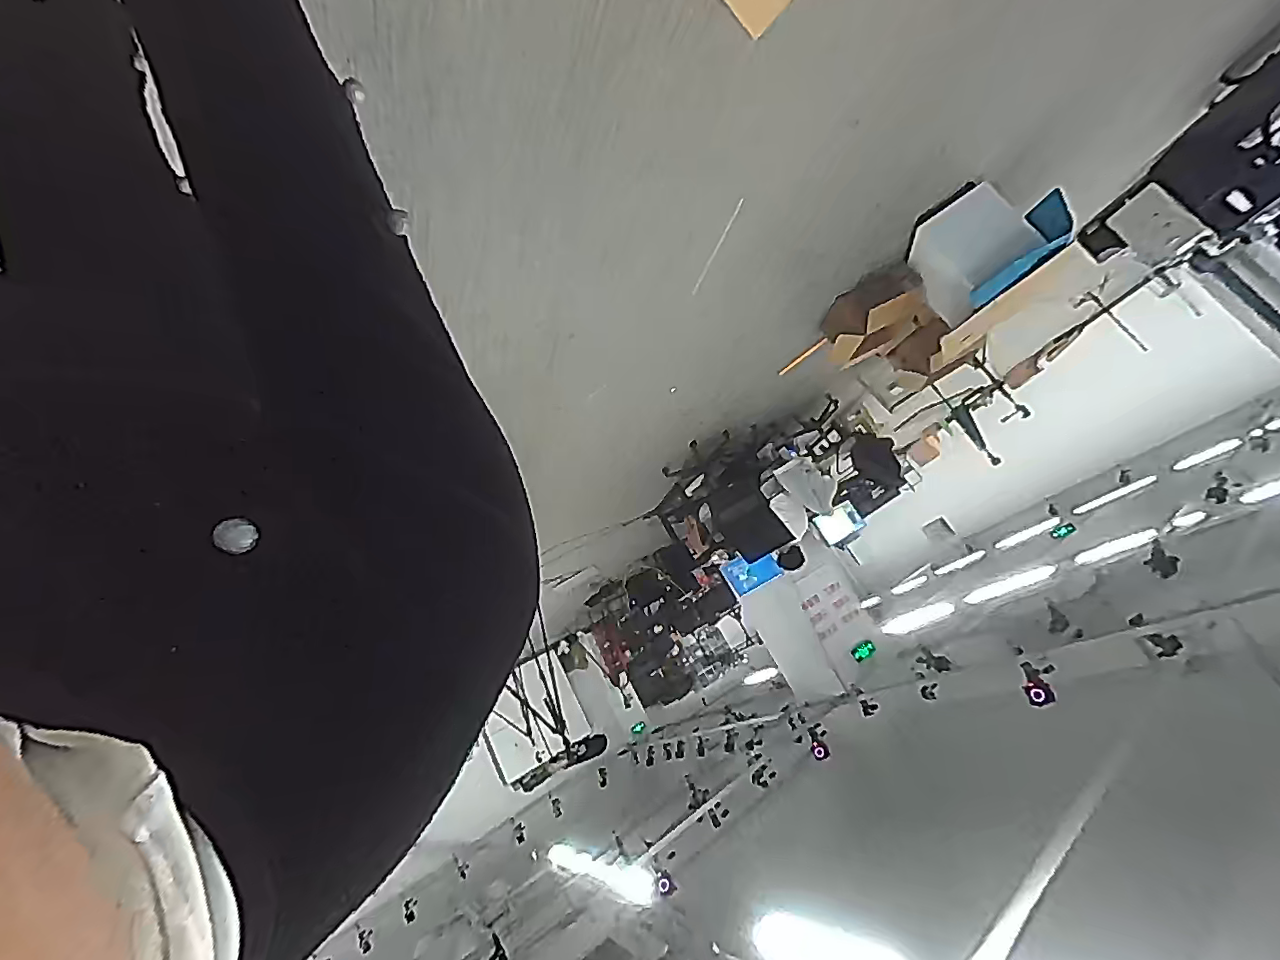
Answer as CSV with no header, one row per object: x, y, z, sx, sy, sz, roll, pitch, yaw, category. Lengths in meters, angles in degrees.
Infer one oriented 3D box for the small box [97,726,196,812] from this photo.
-1.487,0.868,1.636,0.168,0.176,0.179,-22,164,-33,small box

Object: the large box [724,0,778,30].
0.146,-1.133,0.941,0.320,0.320,0.408,-42,160,32,large box
